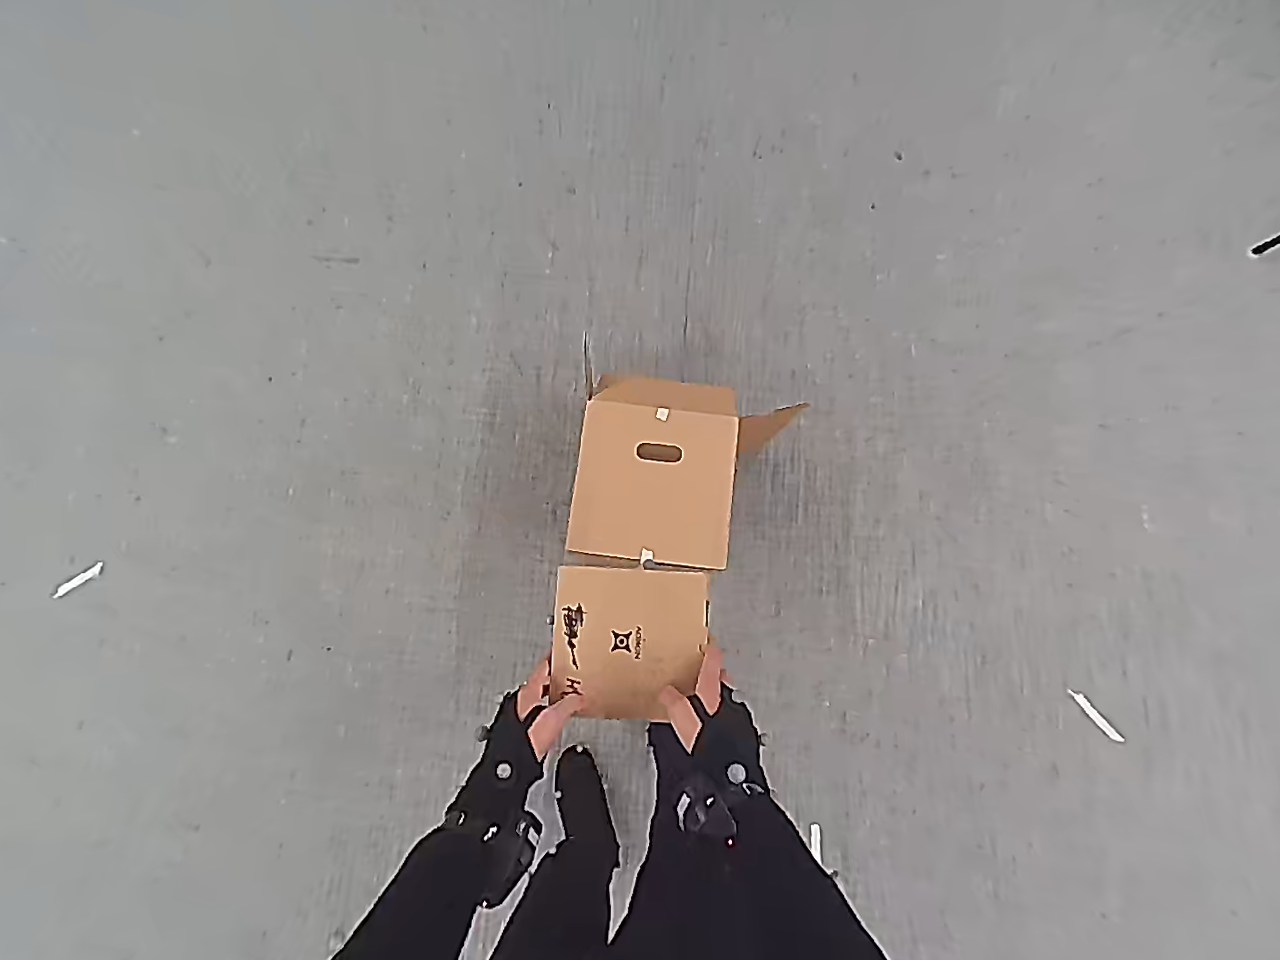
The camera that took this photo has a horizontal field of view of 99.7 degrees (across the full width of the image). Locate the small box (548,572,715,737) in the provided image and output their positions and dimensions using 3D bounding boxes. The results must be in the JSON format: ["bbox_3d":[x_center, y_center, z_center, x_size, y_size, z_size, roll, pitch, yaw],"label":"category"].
[{"bbox_3d":[-0.007,0.203,0.674,0.179,0.176,0.168,3,81,2],"label":"small box"}]
